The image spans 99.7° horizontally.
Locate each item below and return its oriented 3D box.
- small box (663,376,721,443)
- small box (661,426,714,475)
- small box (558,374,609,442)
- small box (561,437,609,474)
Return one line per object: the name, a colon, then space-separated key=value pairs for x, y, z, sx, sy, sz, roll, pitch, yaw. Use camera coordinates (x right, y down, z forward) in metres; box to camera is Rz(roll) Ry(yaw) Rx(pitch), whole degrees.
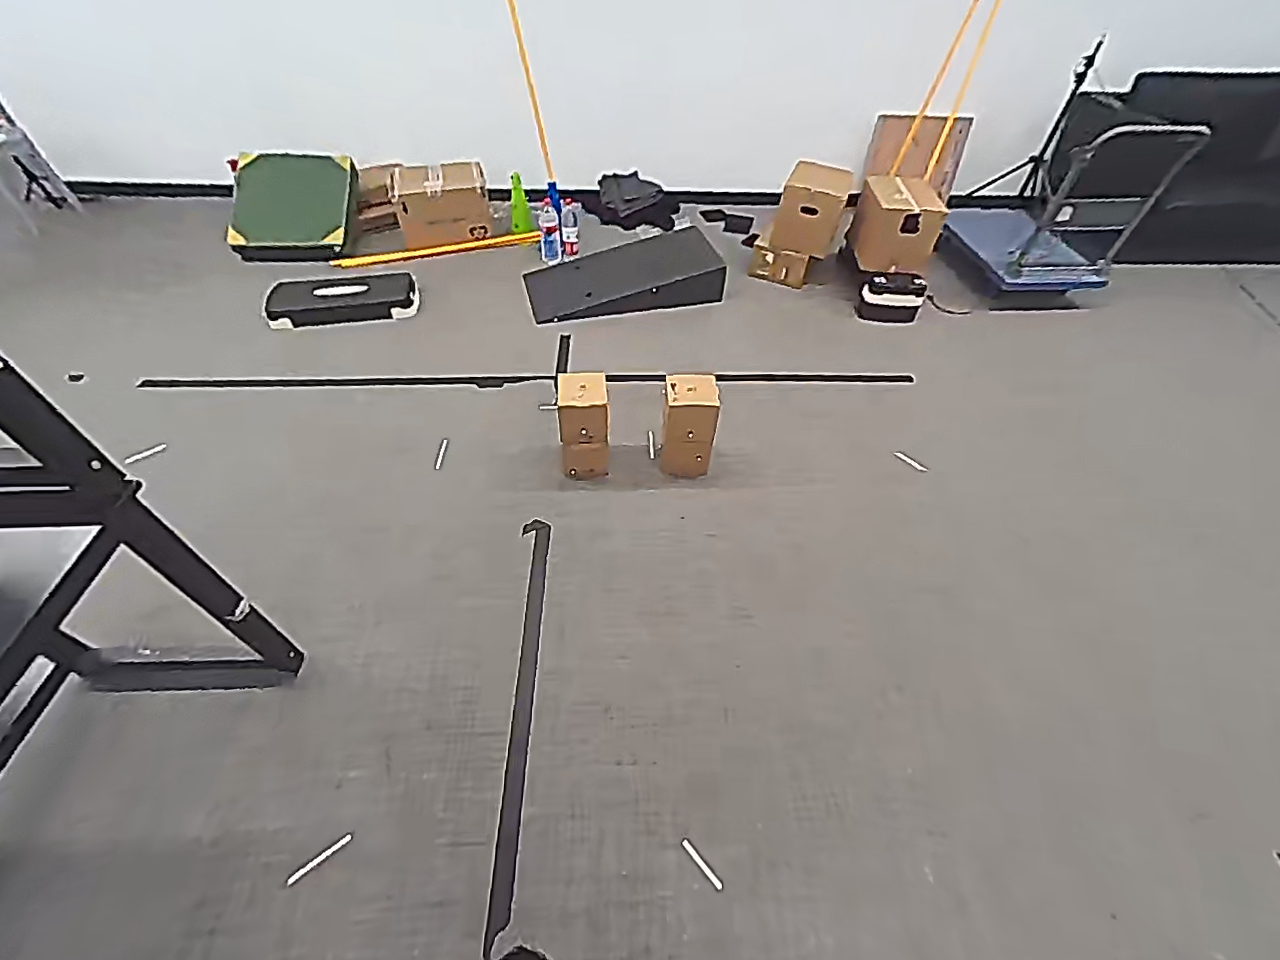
small box: x=0.178 y=-0.243 z=1.895 sx=0.179 sy=0.176 sz=0.168 roll=2 pitch=47 yaw=-2
small box: x=0.172 y=-0.132 z=2.015 sx=0.179 sy=0.176 sz=0.168 roll=2 pitch=48 yaw=-1
small box: x=-0.195 y=-0.249 z=1.876 sx=0.168 sy=0.176 sz=0.179 roll=-2 pitch=48 yaw=-5
small box: x=-0.203 y=-0.133 z=1.993 sx=0.168 sy=0.176 sz=0.179 roll=-4 pitch=48 yaw=-7
